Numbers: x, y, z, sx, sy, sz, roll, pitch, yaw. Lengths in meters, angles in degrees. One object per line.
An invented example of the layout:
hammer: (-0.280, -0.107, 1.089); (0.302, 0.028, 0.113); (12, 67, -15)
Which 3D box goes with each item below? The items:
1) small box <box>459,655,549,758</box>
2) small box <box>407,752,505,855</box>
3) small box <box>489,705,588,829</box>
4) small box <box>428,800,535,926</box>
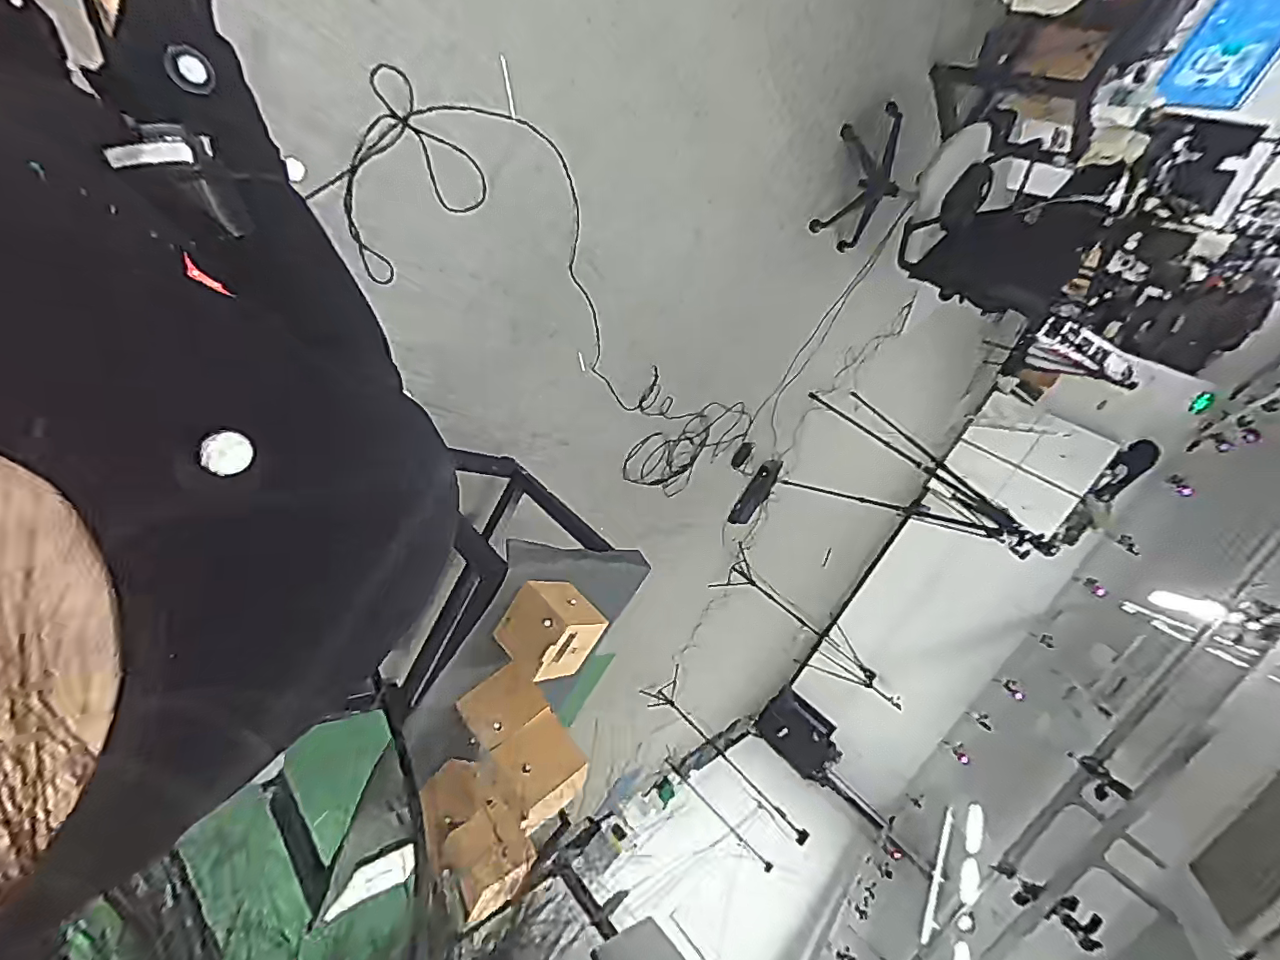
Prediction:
small box: (-0.355, 0.604, 1.422); (0.179, 0.176, 0.168); (-32, 144, -31)
small box: (-0.517, 0.896, 1.502); (0.179, 0.176, 0.168); (-46, 149, -14)
small box: (-0.257, 0.701, 1.336); (0.179, 0.176, 0.168); (-24, 140, -40)
small box: (-0.413, 0.981, 1.406); (0.179, 0.176, 0.168); (4, 117, -55)
